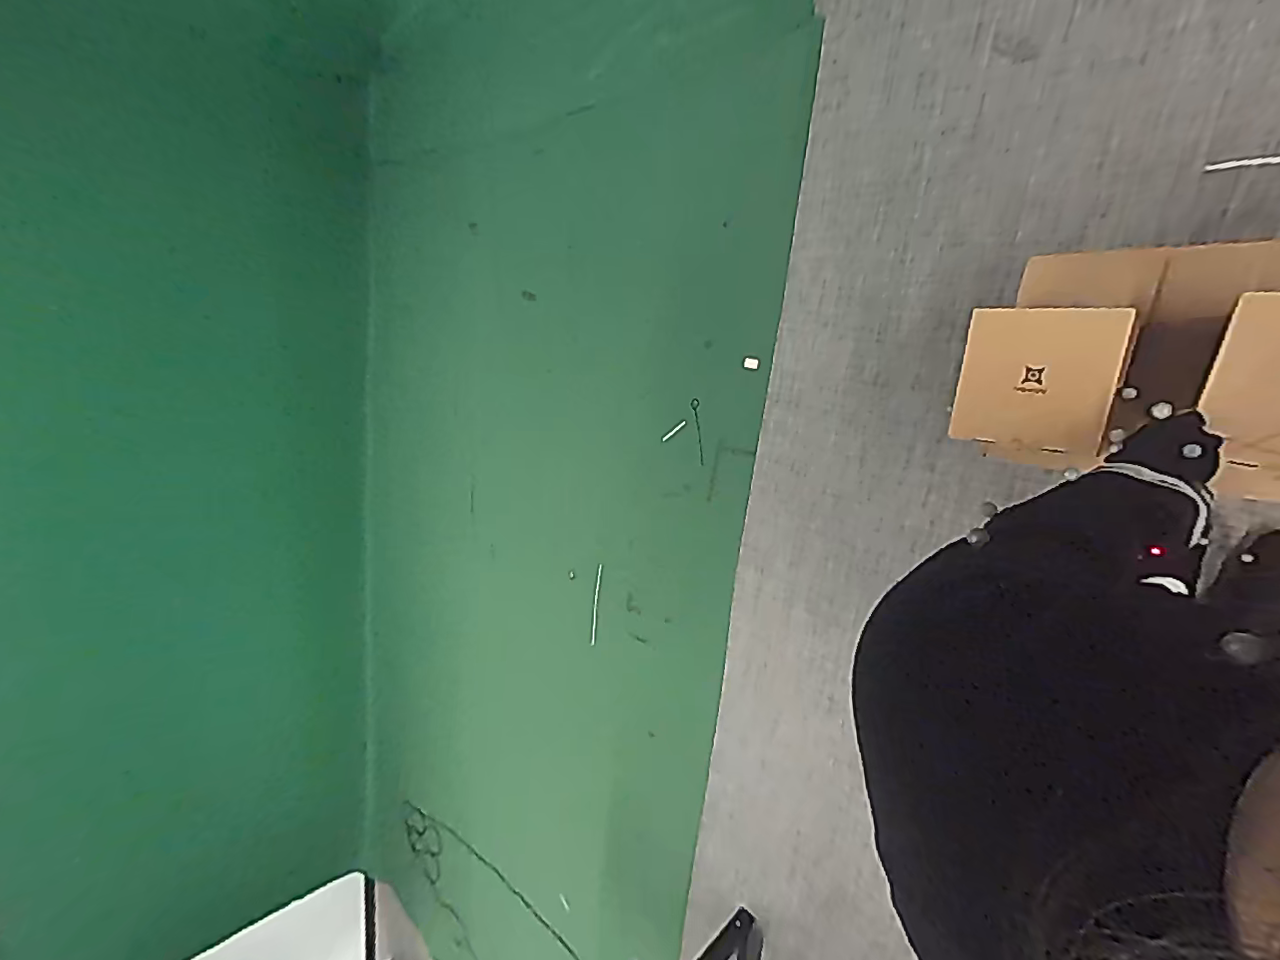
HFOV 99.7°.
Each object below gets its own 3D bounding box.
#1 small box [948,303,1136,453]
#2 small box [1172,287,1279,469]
[{"bbox_3d":[0.551,-0.143,0.744,0.168,0.176,0.179,16,108,41],"label":"small box"},{"bbox_3d":[0.720,-0.100,0.583,0.168,0.176,0.179,22,109,41],"label":"small box"}]
